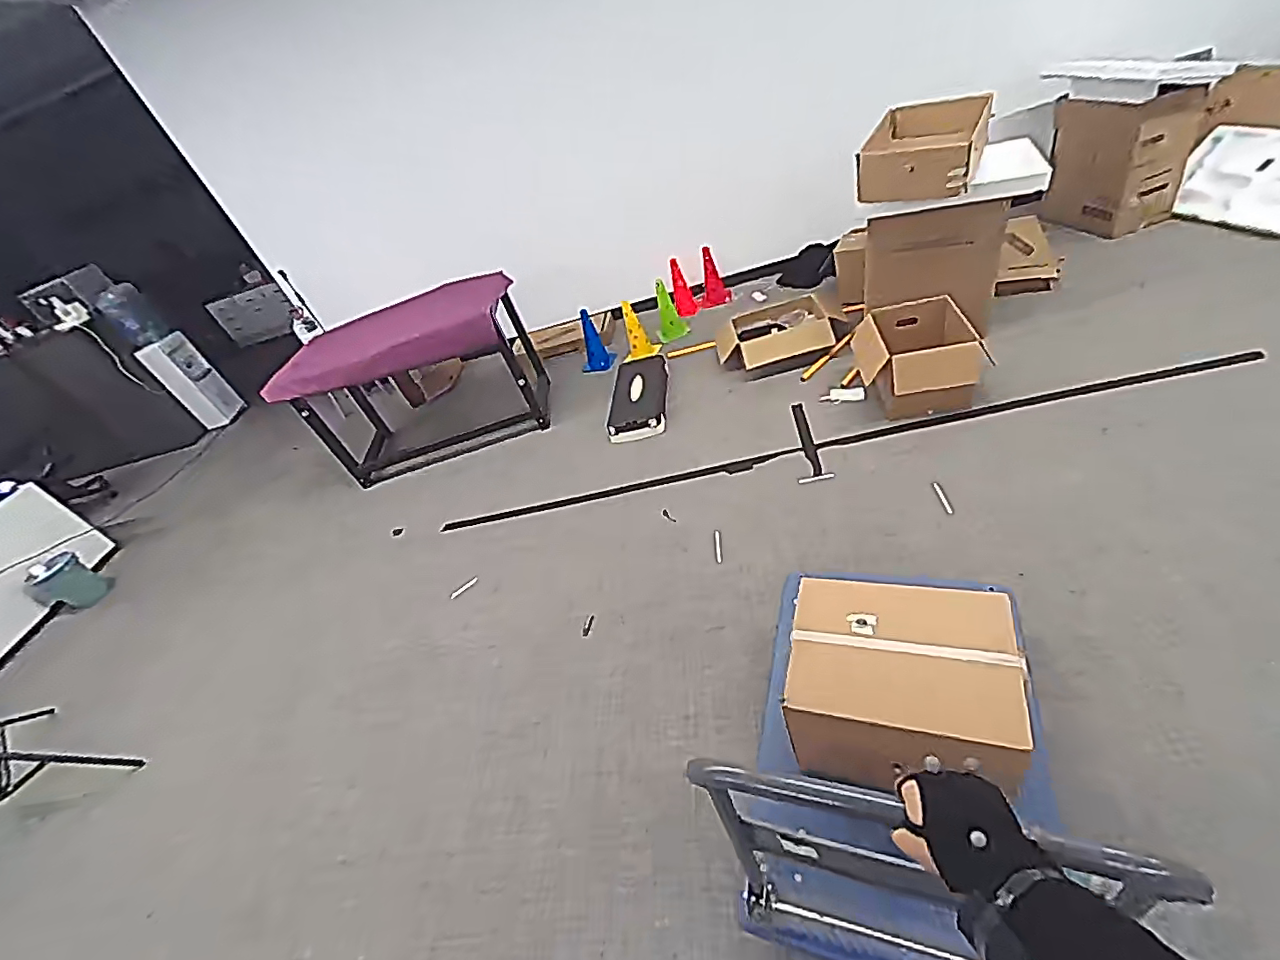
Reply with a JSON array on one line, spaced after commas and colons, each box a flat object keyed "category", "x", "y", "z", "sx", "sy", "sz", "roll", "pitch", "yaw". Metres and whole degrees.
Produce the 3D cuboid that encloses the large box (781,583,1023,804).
[{"category": "large box", "x": 0.548, "y": 0.448, "z": 1.170, "sx": 0.408, "sy": 0.320, "sz": 0.320, "roll": -1, "pitch": 42, "yaw": 26}]
